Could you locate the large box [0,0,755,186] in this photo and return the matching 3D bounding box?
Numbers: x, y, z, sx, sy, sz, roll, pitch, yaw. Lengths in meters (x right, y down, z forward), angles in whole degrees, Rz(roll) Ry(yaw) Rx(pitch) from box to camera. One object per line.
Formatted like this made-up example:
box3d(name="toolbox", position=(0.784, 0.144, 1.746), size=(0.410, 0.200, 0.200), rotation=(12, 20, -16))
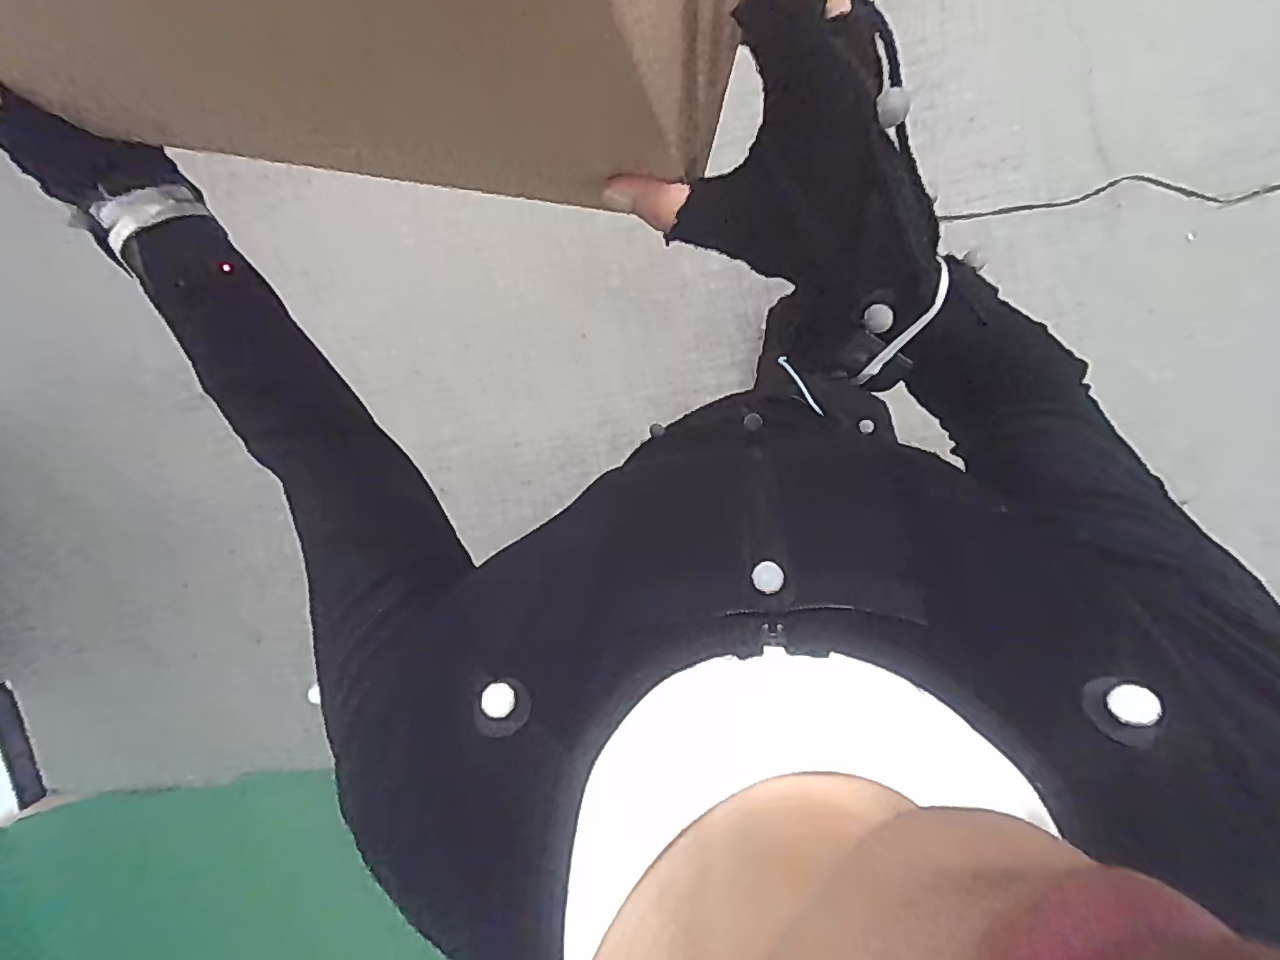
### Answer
box3d(name="large box", position=(-0.154, -0.324, 0.144), size=(0.408, 0.320, 0.320), rotation=(14, 95, 13))
